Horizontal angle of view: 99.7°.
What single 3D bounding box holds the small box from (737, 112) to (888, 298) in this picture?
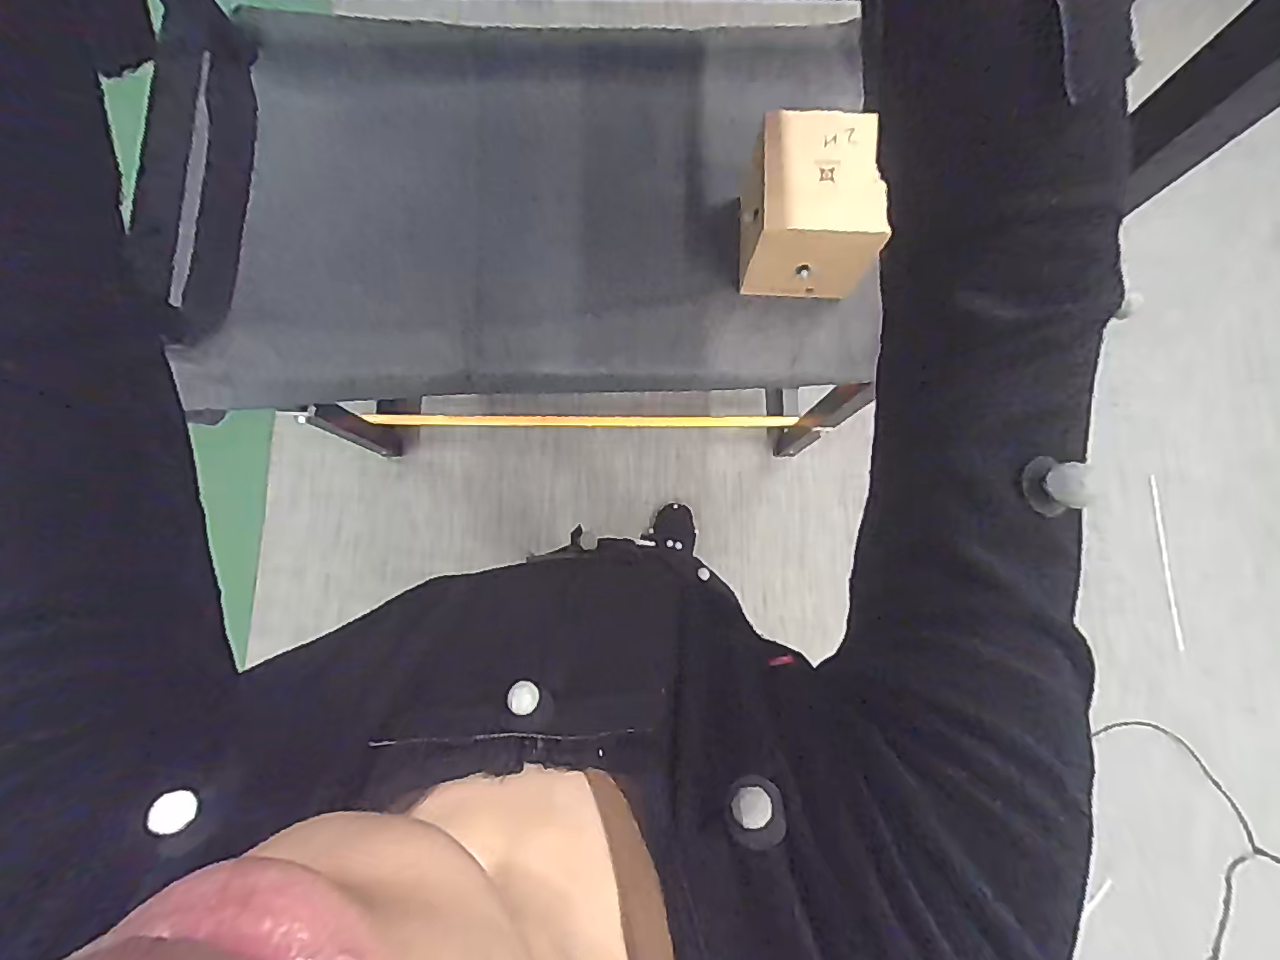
[{"bbox_3d":[0.237,-0.382,0.776,0.168,0.176,0.179,3,80,-1],"label":"small box"}]
